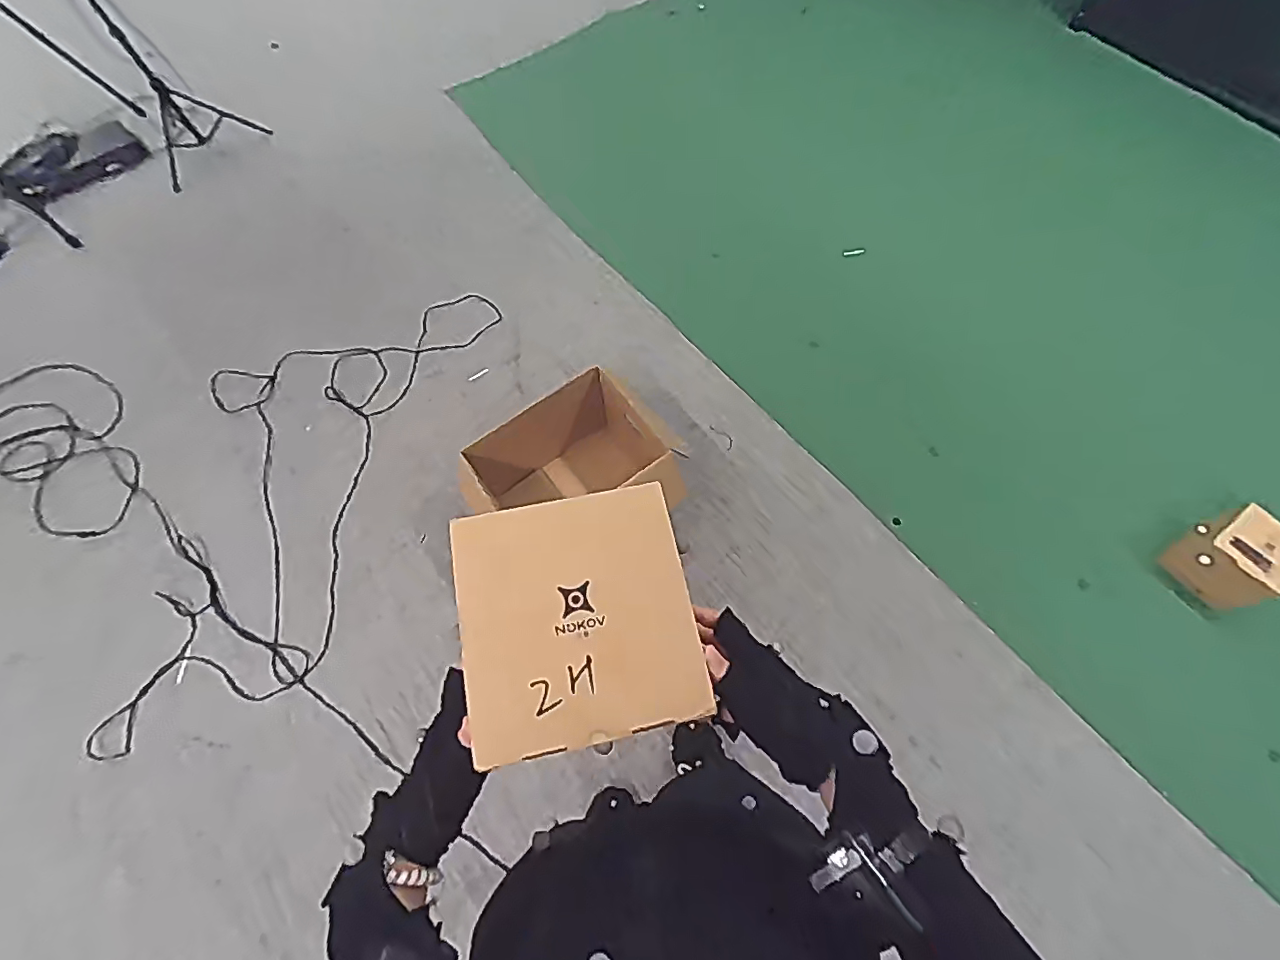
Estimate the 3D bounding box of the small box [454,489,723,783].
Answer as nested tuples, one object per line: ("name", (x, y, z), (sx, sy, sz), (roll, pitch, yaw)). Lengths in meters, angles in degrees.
("small box", (-0.046, 0.127, 0.448), (0.168, 0.176, 0.179), (-10, 70, -7))
